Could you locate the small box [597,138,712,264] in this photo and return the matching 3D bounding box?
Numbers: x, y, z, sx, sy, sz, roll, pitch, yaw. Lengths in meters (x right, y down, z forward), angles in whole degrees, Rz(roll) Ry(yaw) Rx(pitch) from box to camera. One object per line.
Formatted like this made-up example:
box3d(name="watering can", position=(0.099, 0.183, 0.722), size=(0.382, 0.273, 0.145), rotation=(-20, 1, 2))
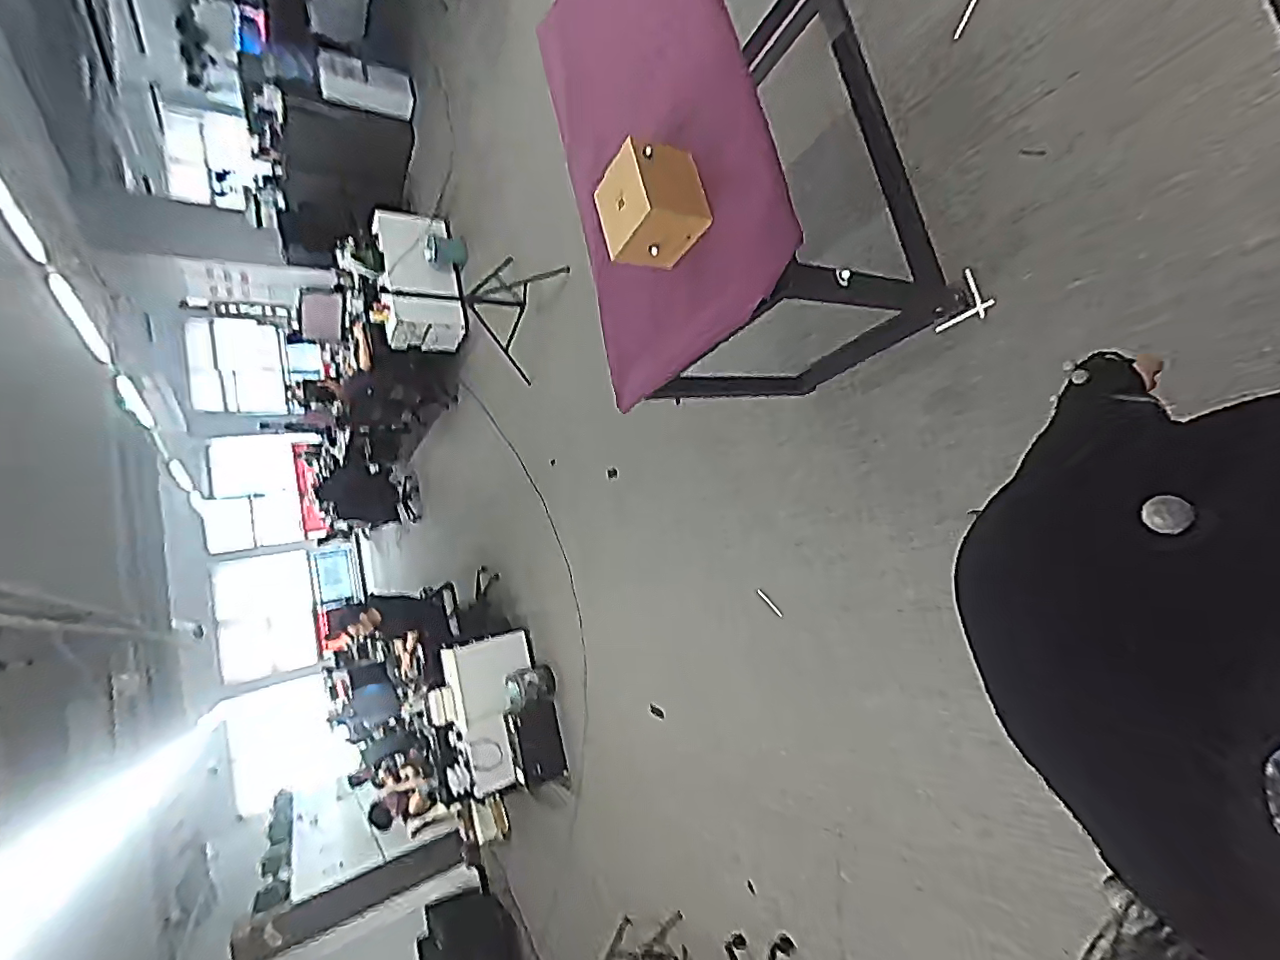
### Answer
box3d(name="small box", position=(0.031, -0.589, 1.170), size=(0.168, 0.176, 0.179), rotation=(-31, 70, 54))
